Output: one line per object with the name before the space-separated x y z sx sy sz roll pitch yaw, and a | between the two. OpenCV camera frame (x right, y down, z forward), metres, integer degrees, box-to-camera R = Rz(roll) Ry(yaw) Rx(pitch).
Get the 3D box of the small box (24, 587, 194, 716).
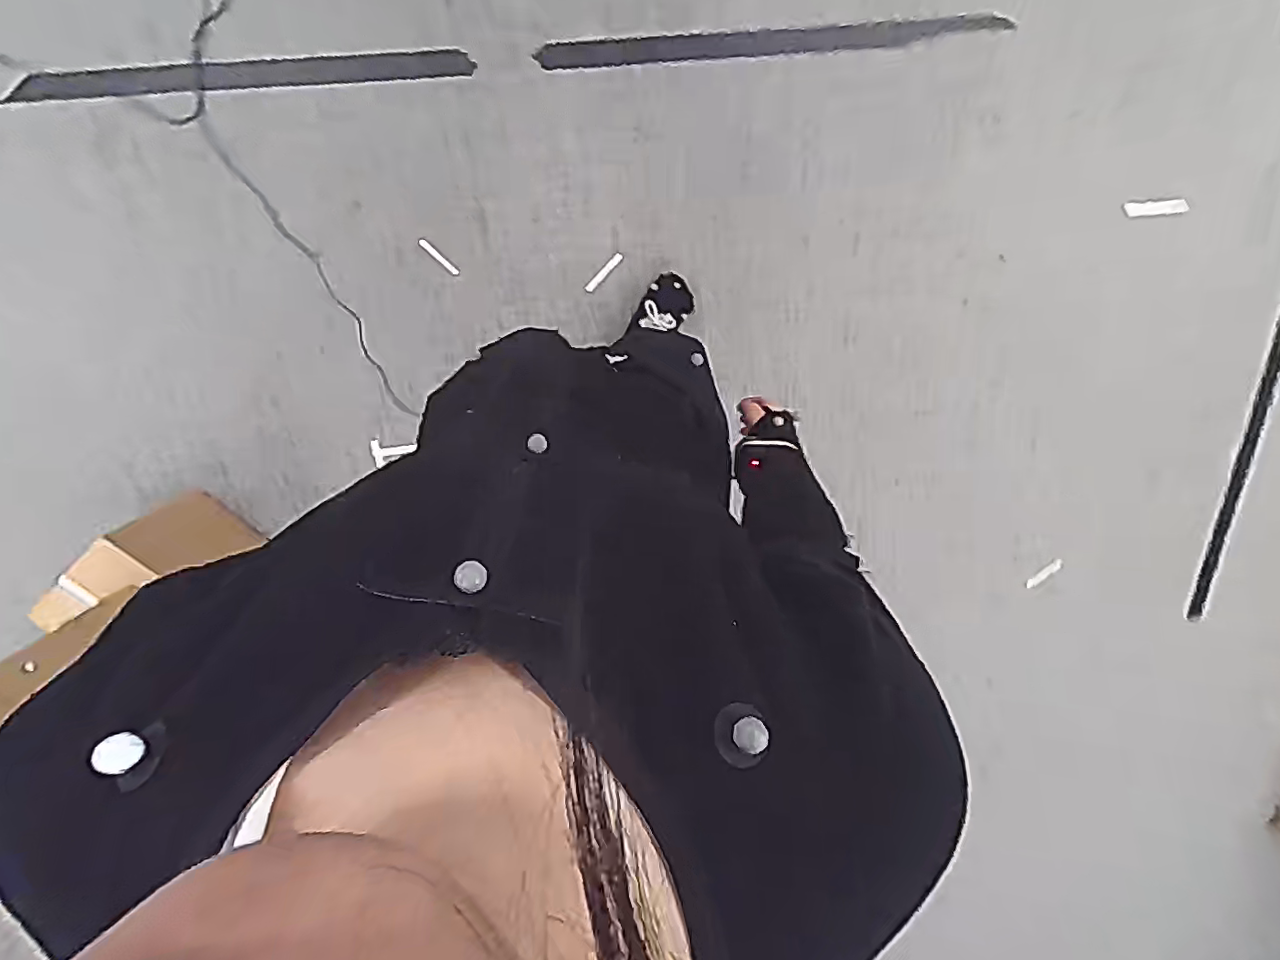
small box | -1.154 0.371 1.193 0.168 0.176 0.179 -44 104 11
